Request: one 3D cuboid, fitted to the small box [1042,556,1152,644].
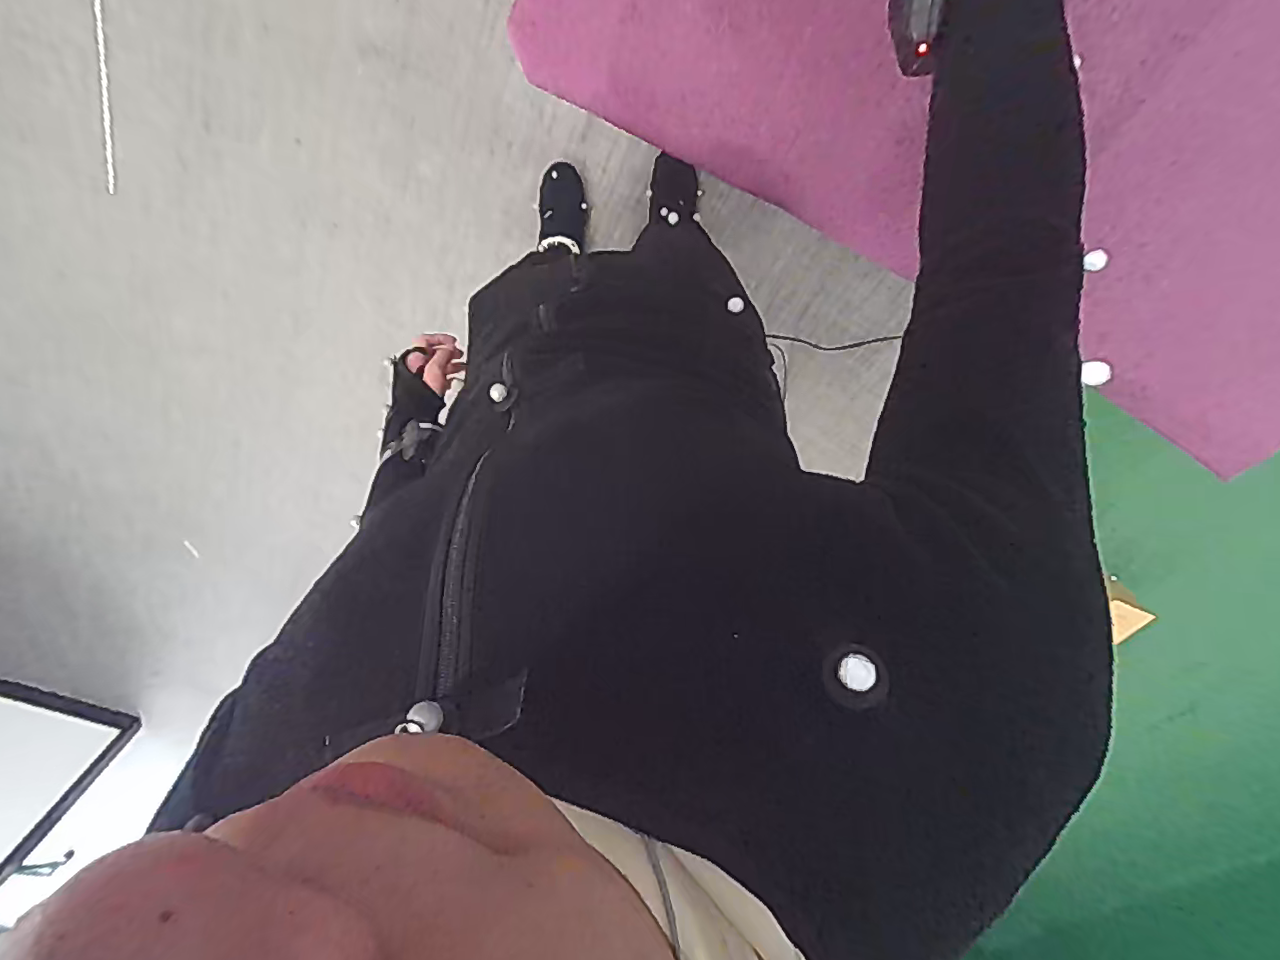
[{"bbox_3d":[1.409,0.373,1.689,0.168,0.176,0.179,21,122,-12],"label":"small box"}]
